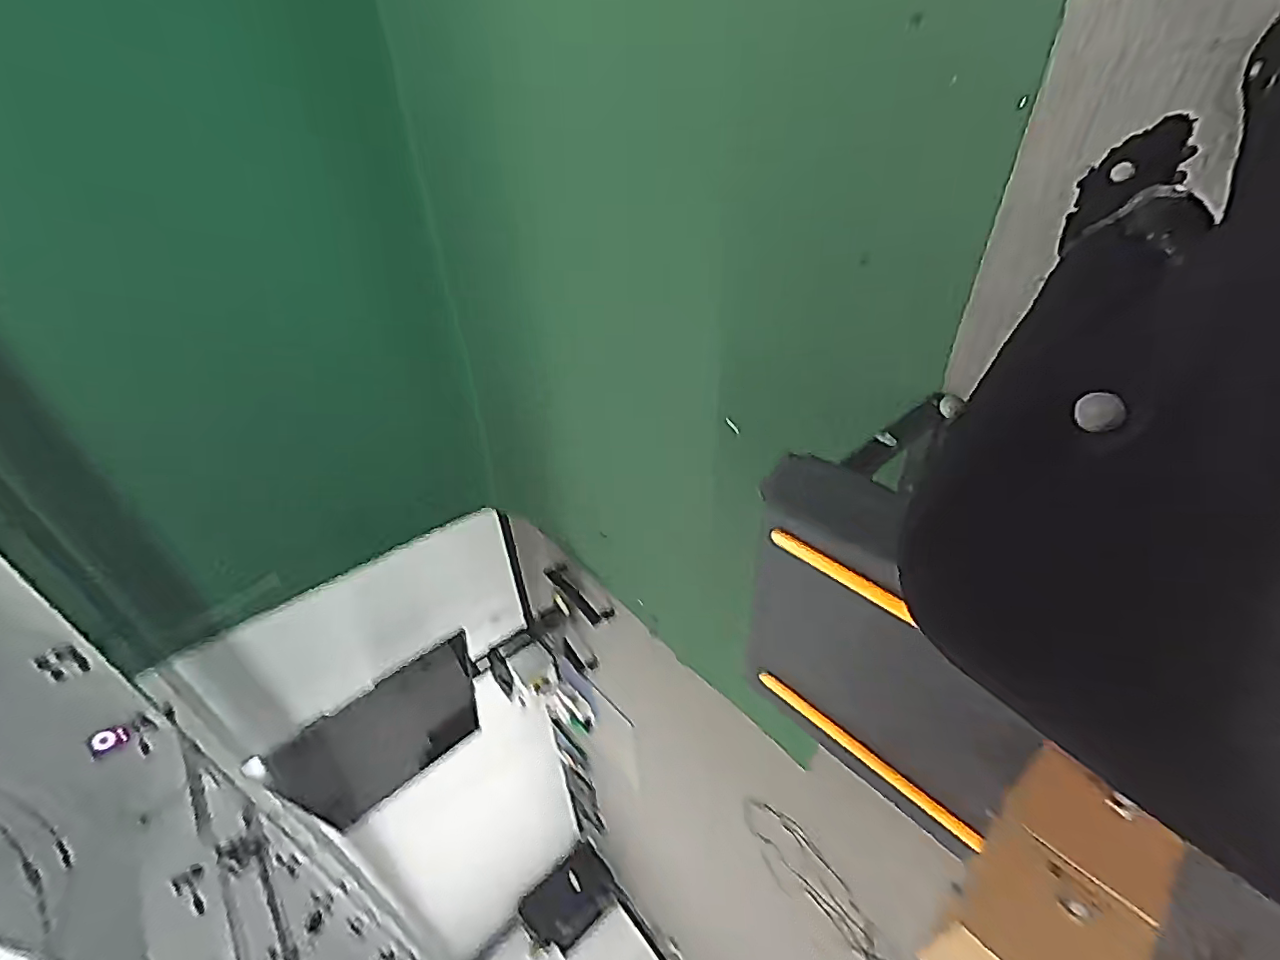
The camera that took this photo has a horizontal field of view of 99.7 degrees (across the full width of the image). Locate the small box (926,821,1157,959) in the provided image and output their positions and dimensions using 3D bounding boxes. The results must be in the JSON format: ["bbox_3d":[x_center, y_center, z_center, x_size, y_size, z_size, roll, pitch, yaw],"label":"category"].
[{"bbox_3d":[0.509,0.593,0.694,0.168,0.176,0.179,33,139,36],"label":"small box"}]

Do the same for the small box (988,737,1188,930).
[{"bbox_3d":[0.632,0.519,0.776,0.168,0.176,0.179,30,137,39],"label":"small box"}]
